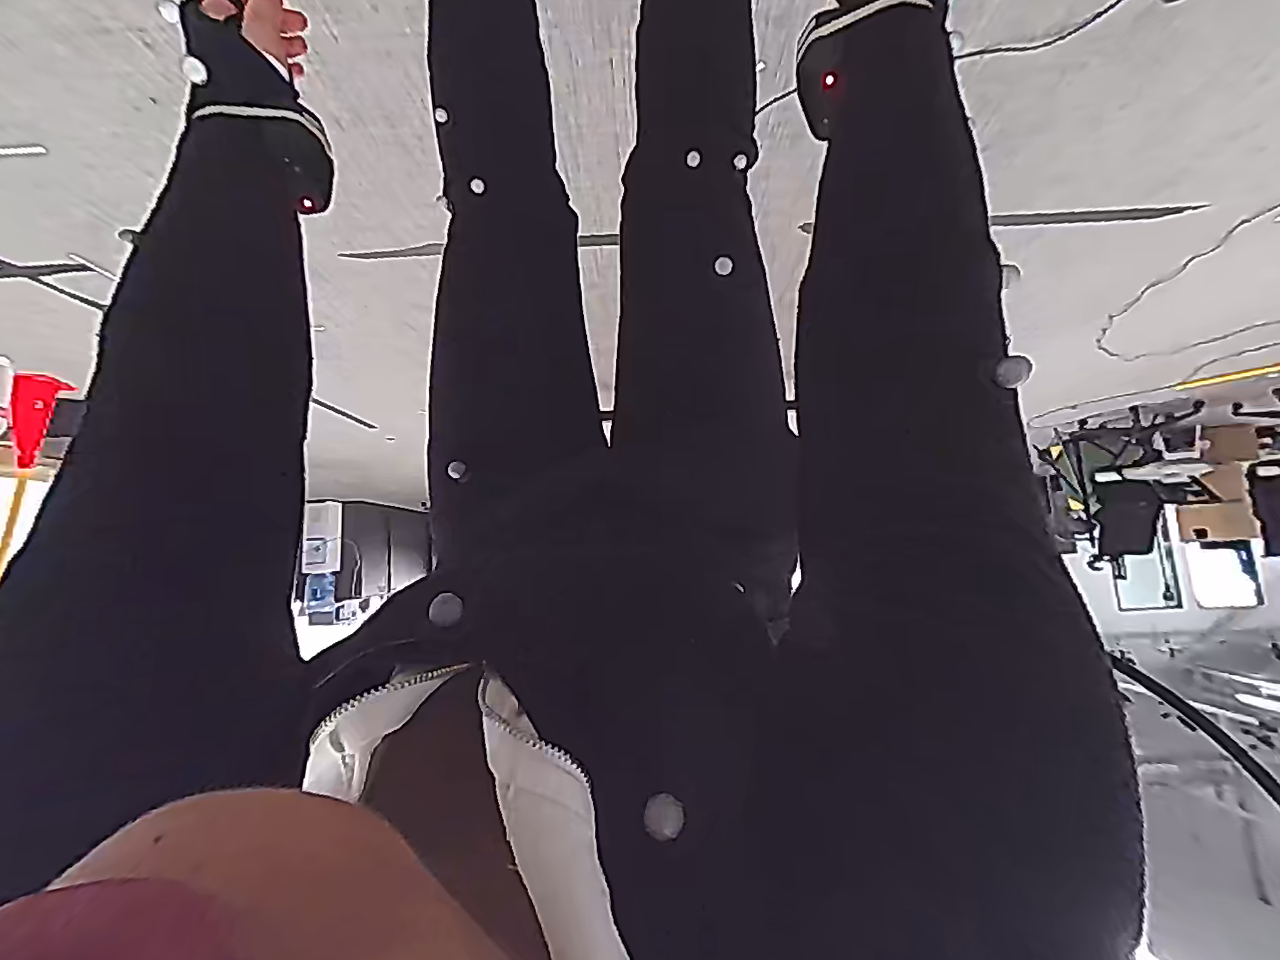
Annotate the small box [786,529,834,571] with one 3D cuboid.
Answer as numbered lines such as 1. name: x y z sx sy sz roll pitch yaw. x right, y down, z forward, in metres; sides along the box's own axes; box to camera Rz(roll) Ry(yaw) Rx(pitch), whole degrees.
1. small box: 0.725 0.300 2.324 0.168 0.176 0.179 -2 173 5
